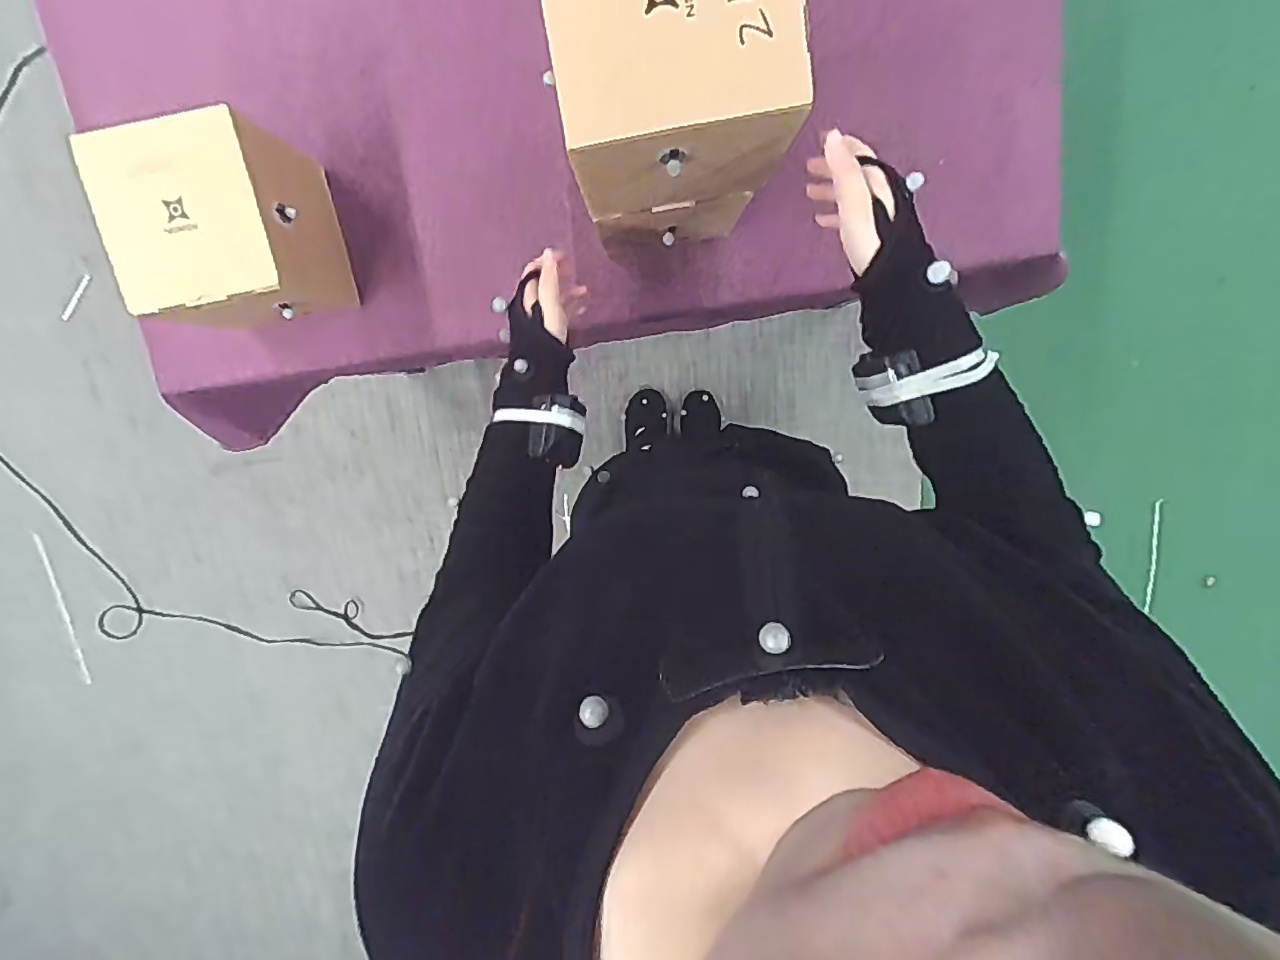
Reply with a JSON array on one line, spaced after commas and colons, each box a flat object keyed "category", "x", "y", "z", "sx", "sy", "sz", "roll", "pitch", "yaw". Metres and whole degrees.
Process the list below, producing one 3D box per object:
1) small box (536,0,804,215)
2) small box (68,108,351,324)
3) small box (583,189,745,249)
[{"category": "small box", "x": 0.019, "y": -0.334, "z": 0.441, "sx": 0.179, "sy": 0.176, "sz": 0.168, "roll": -9, "pitch": 101, "yaw": 2}, {"category": "small box", "x": -0.466, "y": -0.281, "z": 0.620, "sx": 0.168, "sy": 0.176, "sz": 0.179, "roll": -10, "pitch": 100, "yaw": 1}, {"category": "small box", "x": 0.016, "y": -0.368, "z": 0.603, "sx": 0.168, "sy": 0.176, "sz": 0.179, "roll": -8, "pitch": 102, "yaw": 1}]
